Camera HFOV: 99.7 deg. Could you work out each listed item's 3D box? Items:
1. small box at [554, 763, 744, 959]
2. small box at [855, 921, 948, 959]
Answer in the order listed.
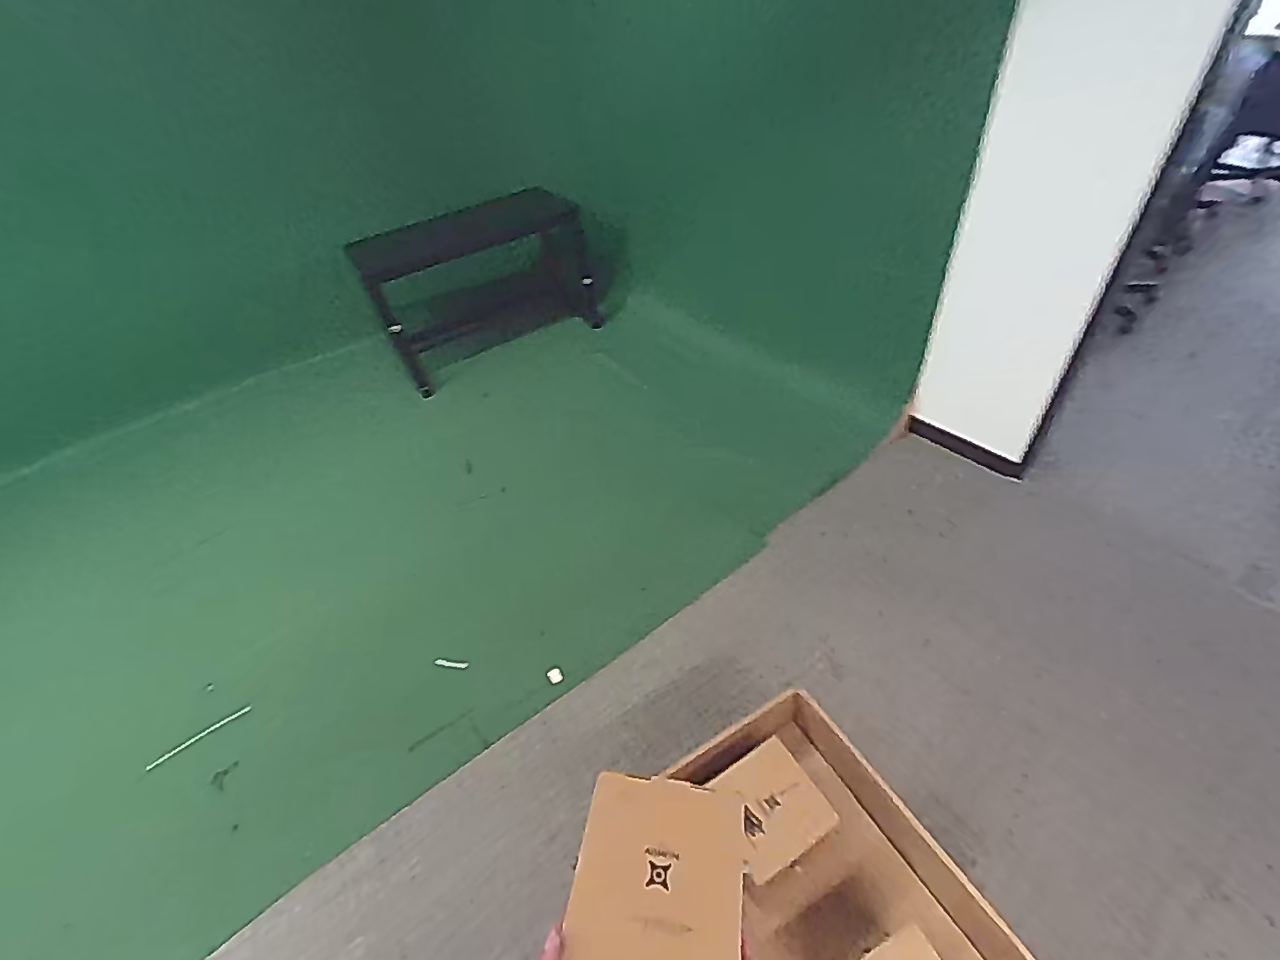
[{"bbox_3d":[0.017,0.442,0.577,0.168,0.176,0.179,6,37,8],"label":"small box"},{"bbox_3d":[0.370,0.771,0.763,0.179,0.176,0.168,-23,44,-13],"label":"small box"}]
